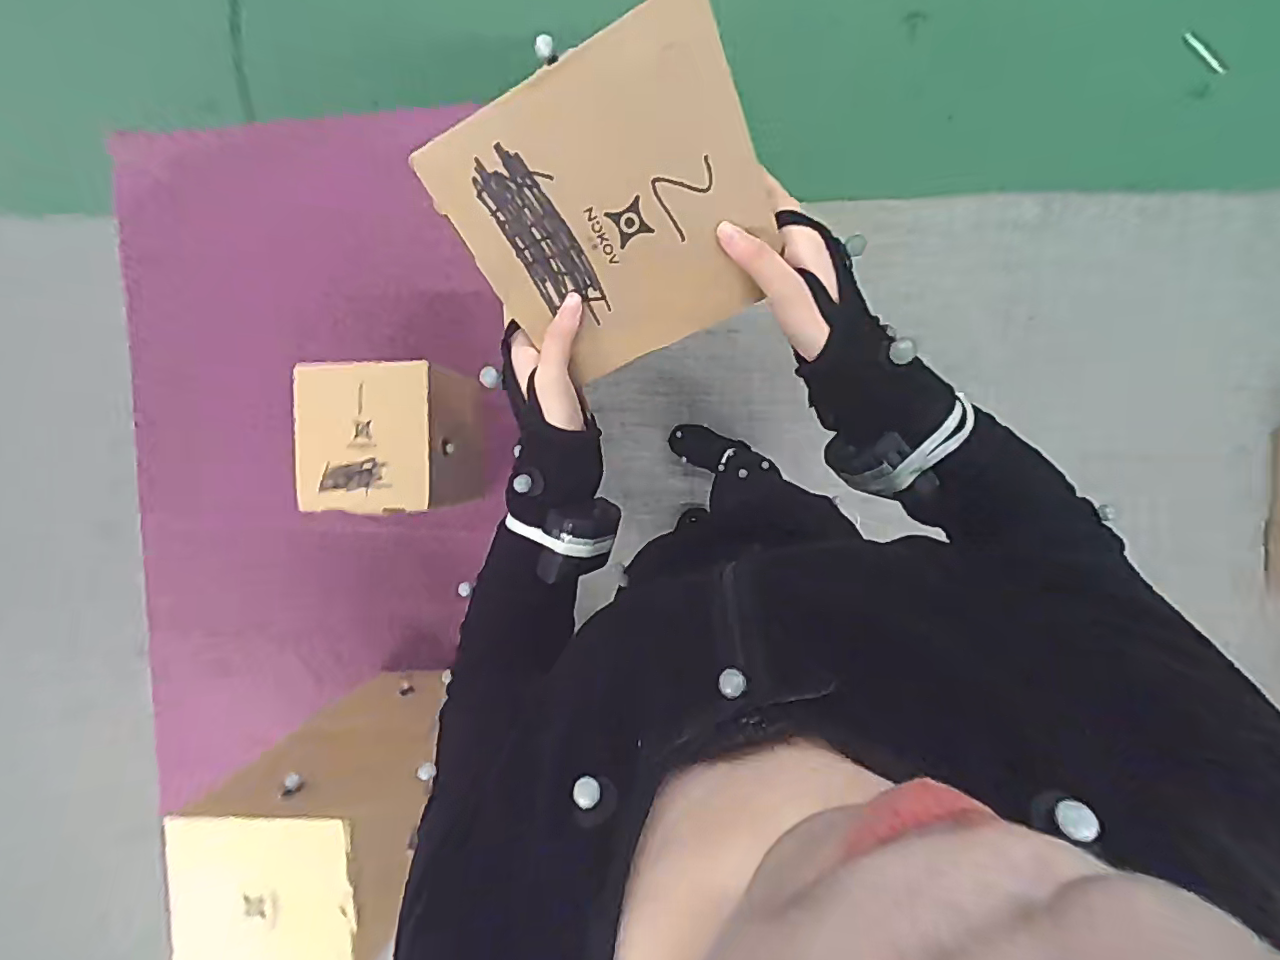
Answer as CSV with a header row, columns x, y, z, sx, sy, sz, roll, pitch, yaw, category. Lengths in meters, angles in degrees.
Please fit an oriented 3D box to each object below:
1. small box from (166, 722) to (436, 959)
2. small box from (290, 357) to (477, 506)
x,y,z,sx,sy,sz,roll,pitch,yaw,category
-0.337,0.372,0.567,0.179,0.176,0.168,-3,91,4,small box
-0.325,-0.060,0.715,0.168,0.176,0.179,0,92,5,small box
